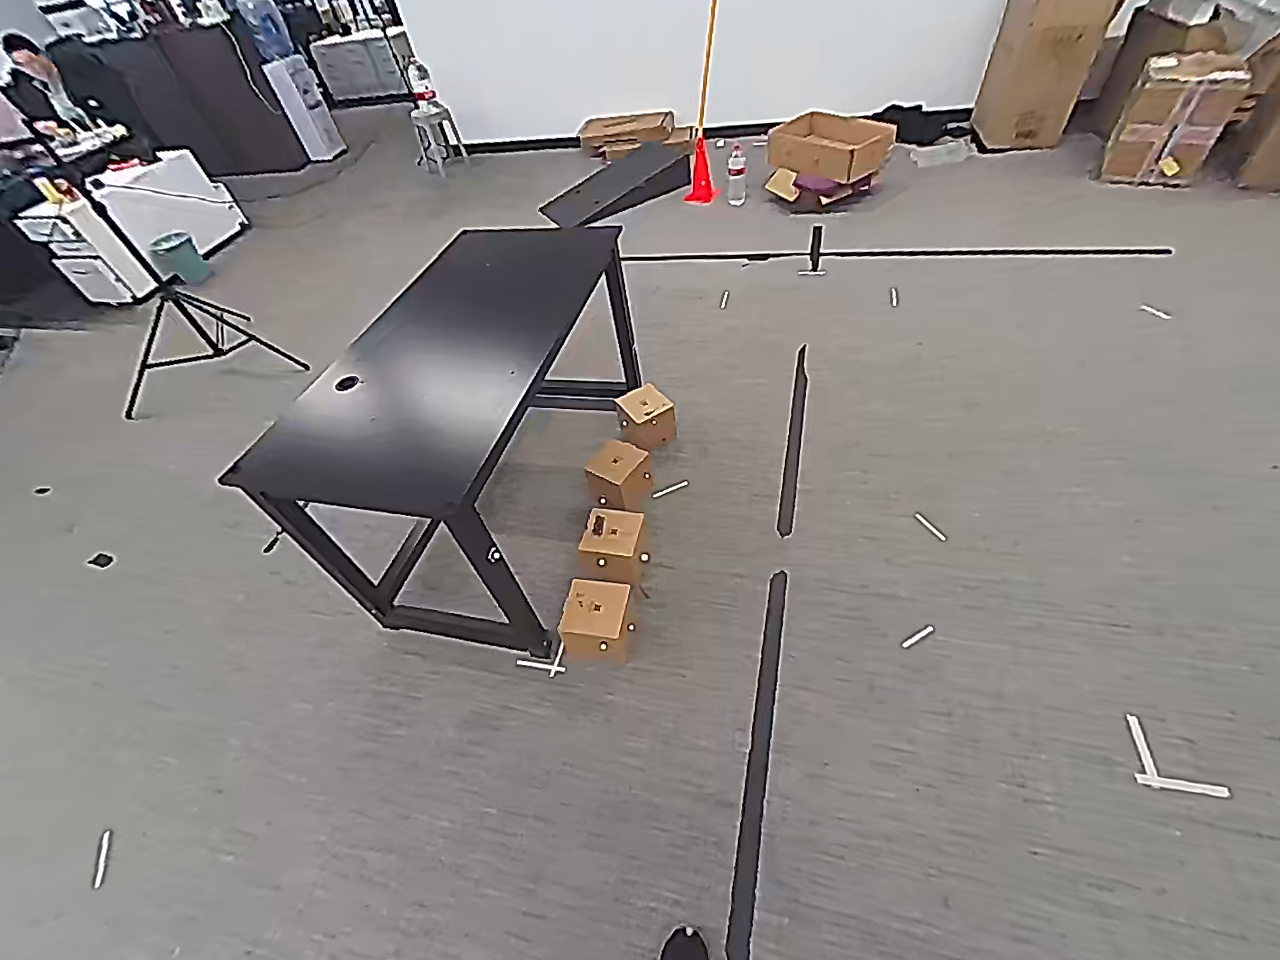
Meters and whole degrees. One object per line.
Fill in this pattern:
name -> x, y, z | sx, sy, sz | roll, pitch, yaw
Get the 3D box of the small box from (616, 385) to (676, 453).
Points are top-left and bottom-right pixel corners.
small box -> 0.025, -0.235, 2.116 | 0.168, 0.176, 0.179 | -30, 51, -15

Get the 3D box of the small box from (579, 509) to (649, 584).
small box -> -0.077, 0.216, 1.738 | 0.179, 0.176, 0.168 | 6, 50, 13

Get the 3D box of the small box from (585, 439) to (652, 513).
small box -> -0.069, -0.009, 1.938 | 0.168, 0.176, 0.179 | 23, 58, 28
